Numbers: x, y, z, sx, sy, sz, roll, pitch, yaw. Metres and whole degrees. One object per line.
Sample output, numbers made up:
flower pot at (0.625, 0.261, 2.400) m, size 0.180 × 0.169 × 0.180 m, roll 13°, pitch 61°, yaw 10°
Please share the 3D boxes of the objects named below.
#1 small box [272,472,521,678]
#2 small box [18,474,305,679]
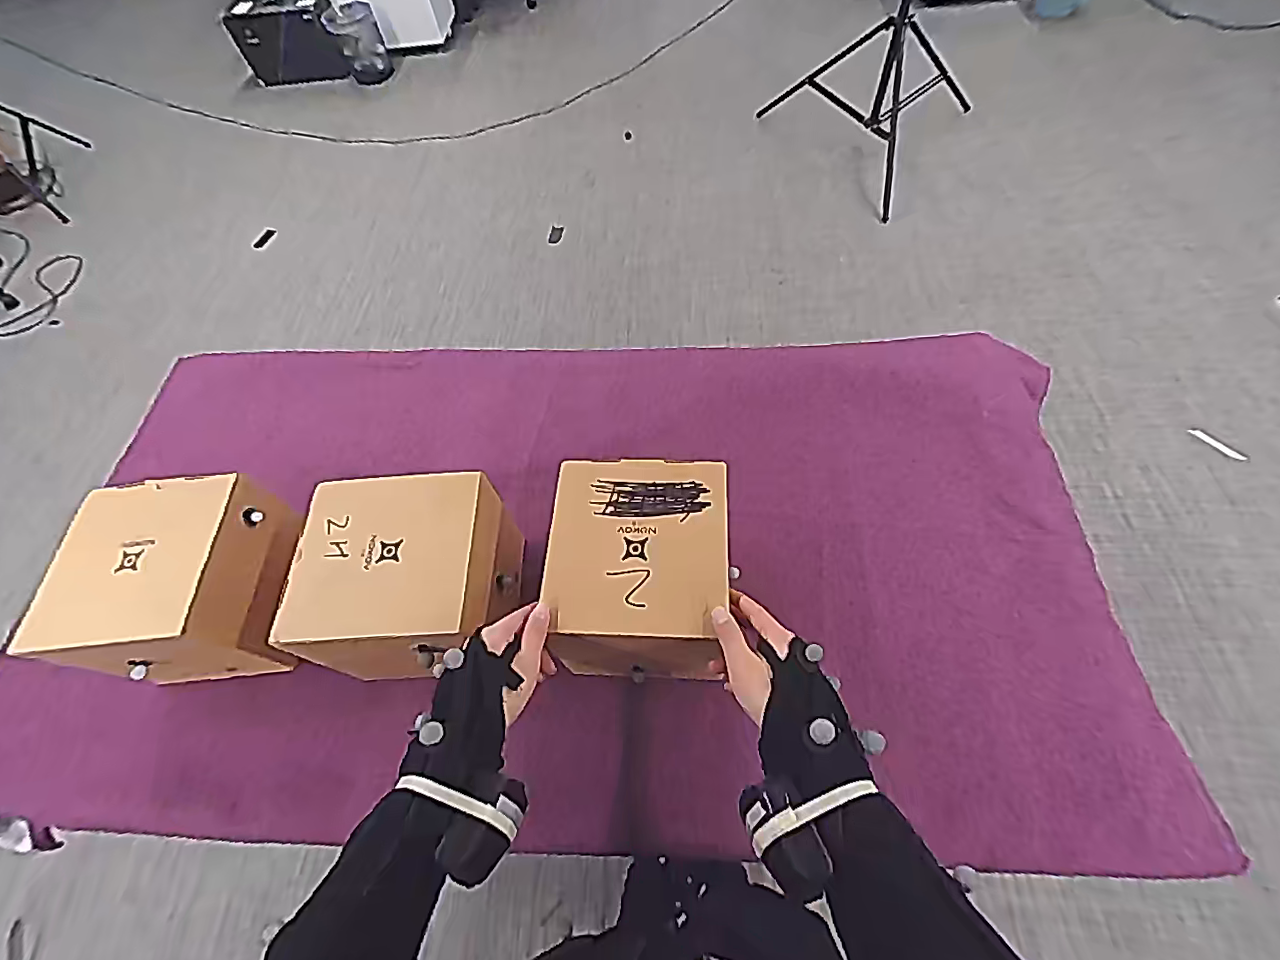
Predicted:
small box at (-0.235, 0.108, 0.579) m, size 0.179 × 0.176 × 0.168 m, roll -4°, pitch 58°, yaw 2°
small box at (-0.490, 0.117, 0.603) m, size 0.168 × 0.176 × 0.179 m, roll -7°, pitch 58°, yaw 2°
